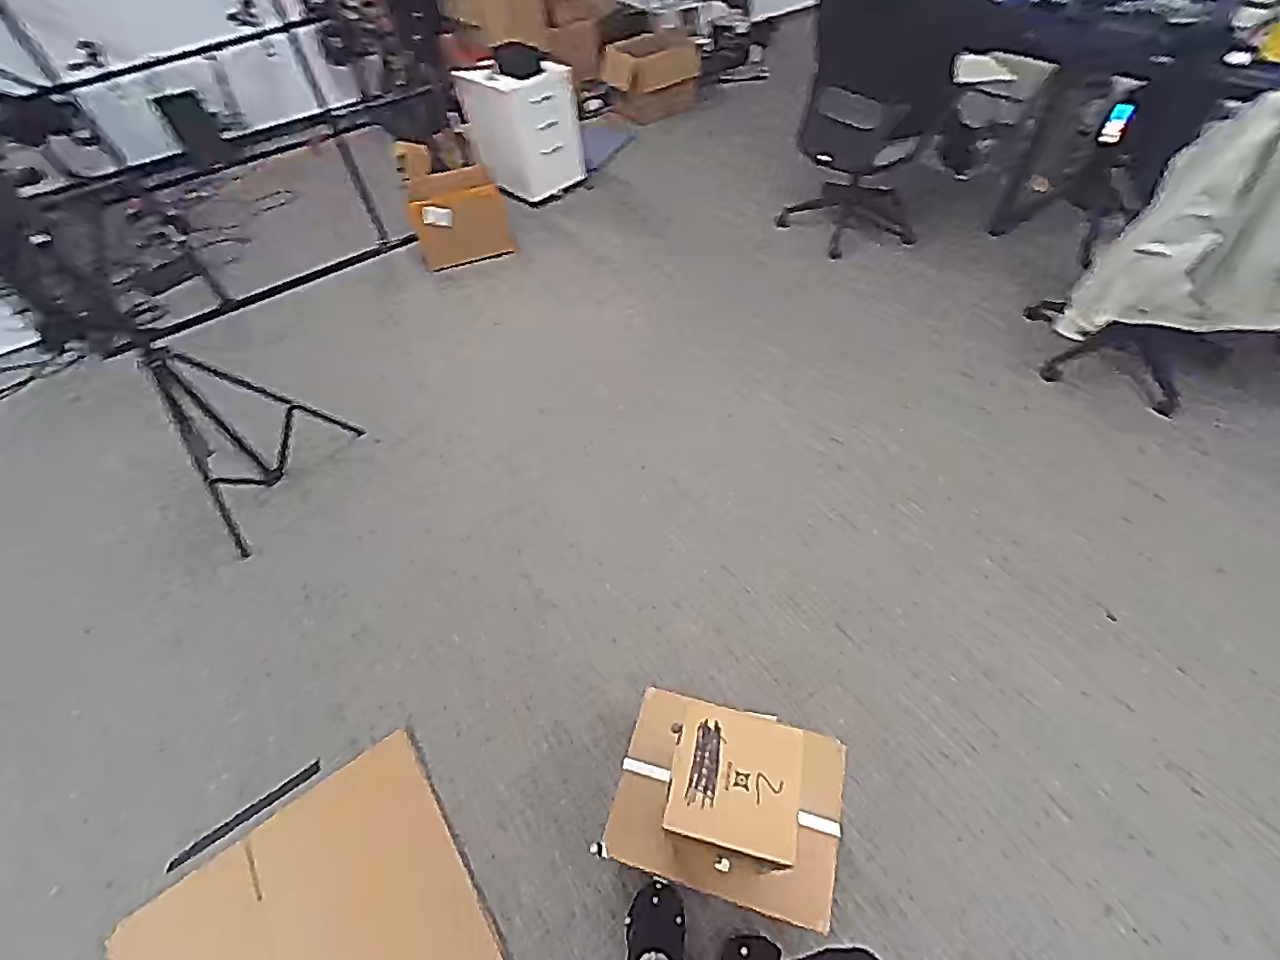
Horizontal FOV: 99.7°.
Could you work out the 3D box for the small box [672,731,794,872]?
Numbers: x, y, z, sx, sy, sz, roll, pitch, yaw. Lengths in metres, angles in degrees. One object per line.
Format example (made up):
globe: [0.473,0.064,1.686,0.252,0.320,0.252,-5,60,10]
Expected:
small box: [0.159,0.558,0.932,0.179,0.176,0.168,9,55,12]
